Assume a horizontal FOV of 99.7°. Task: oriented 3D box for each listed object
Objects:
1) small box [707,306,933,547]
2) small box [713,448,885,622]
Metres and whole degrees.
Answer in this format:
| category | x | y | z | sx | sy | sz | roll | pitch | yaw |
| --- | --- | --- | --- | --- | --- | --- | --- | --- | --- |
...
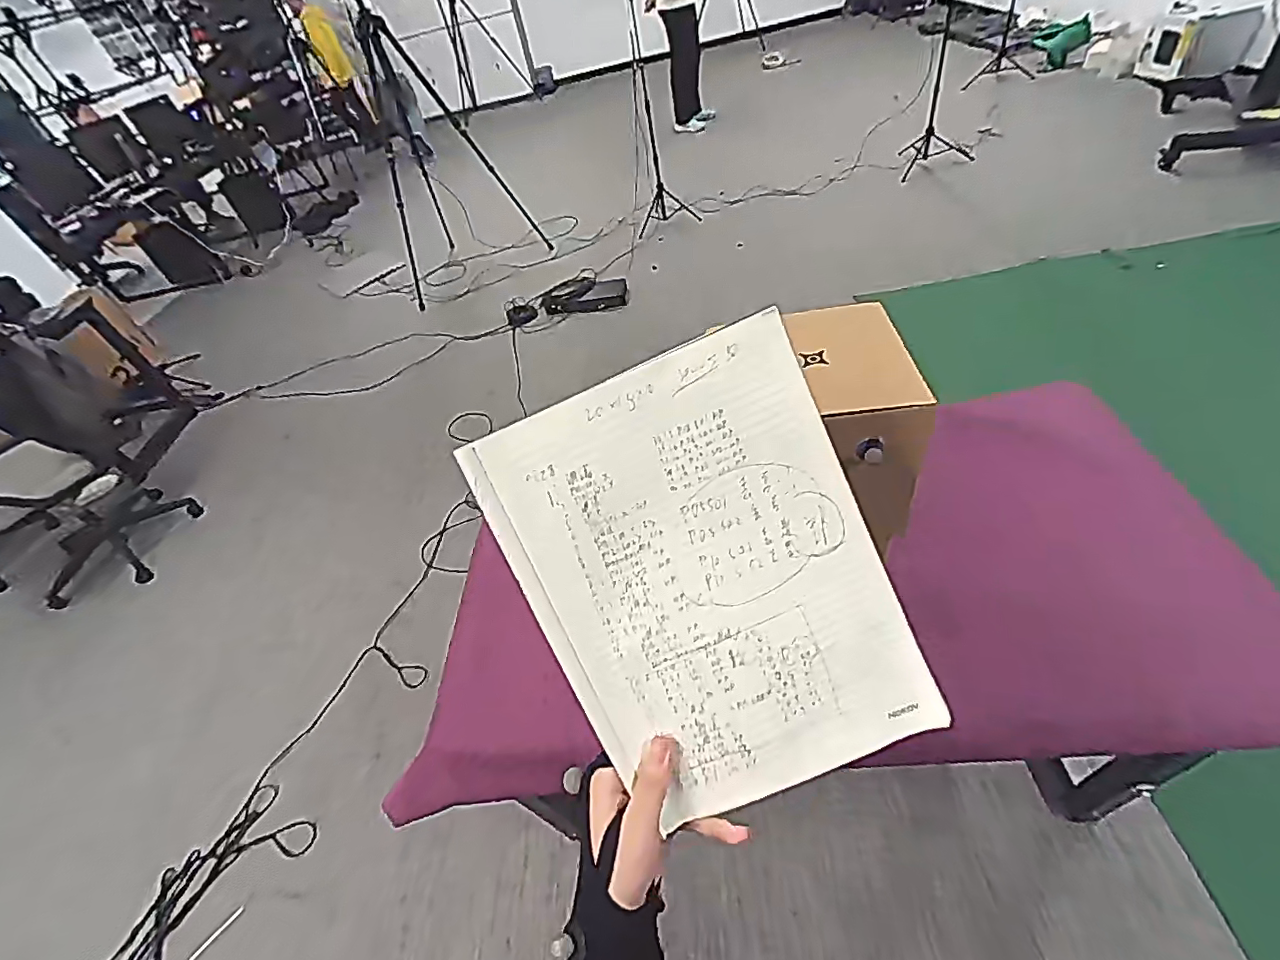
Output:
| category | x | y | z | sx | sy | sz | roll | pitch | yaw |
| --- | --- | --- | --- | --- | --- | --- | --- | --- | --- |
| small box | 0.164 | -0.049 | 0.546 | 0.179 | 0.176 | 0.168 | -6 | 44 | 10 |
| small box | 0.186 | 0.061 | 0.667 | 0.168 | 0.176 | 0.179 | -7 | 44 | 8 |
